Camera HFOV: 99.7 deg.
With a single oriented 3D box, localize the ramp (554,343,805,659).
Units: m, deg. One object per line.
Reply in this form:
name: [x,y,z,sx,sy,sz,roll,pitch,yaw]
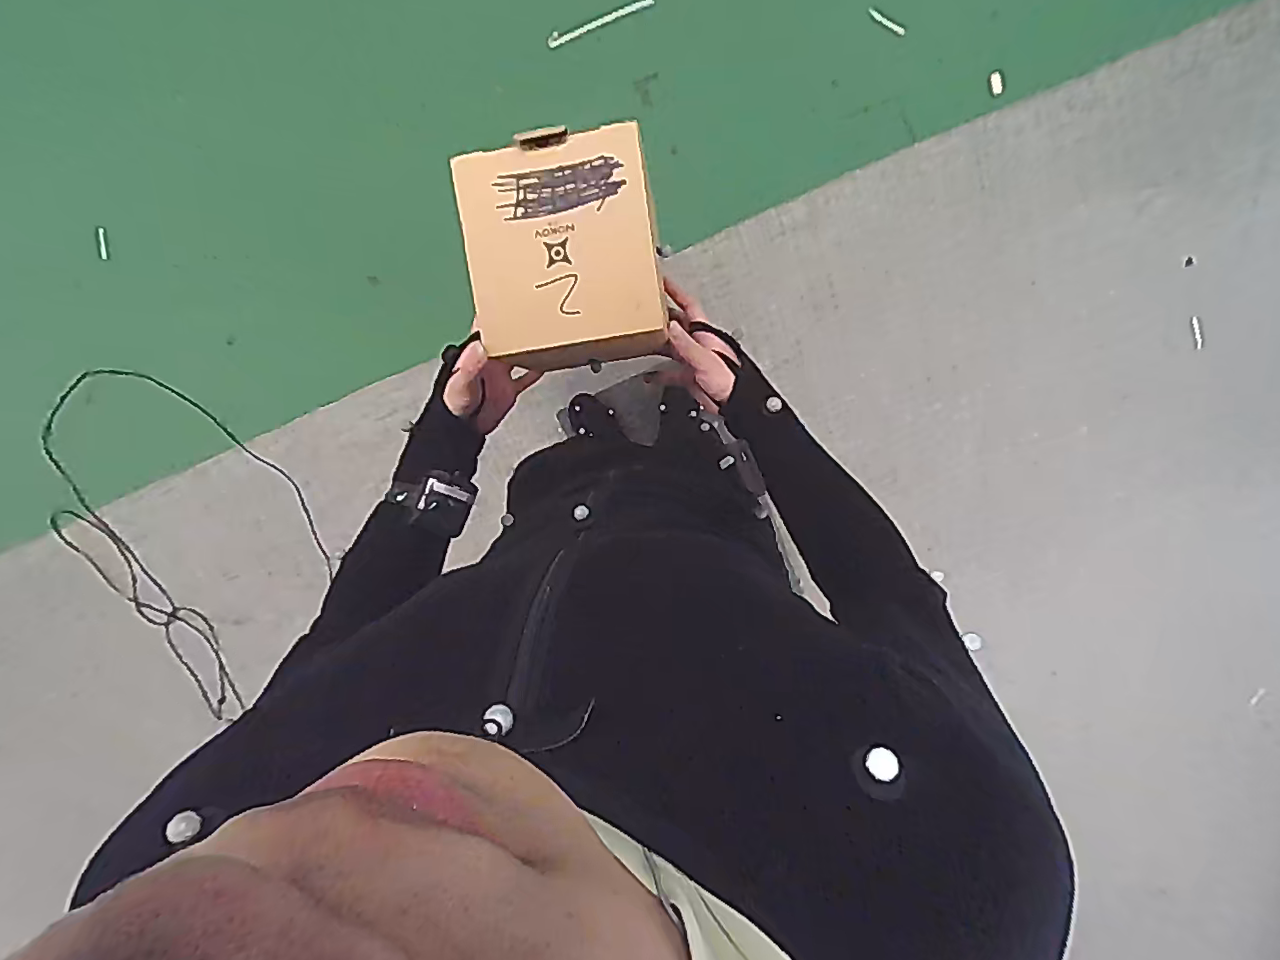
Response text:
ramp: [0.167,0.121,1.724,0.509,0.206,0.991,-26,101,3]
